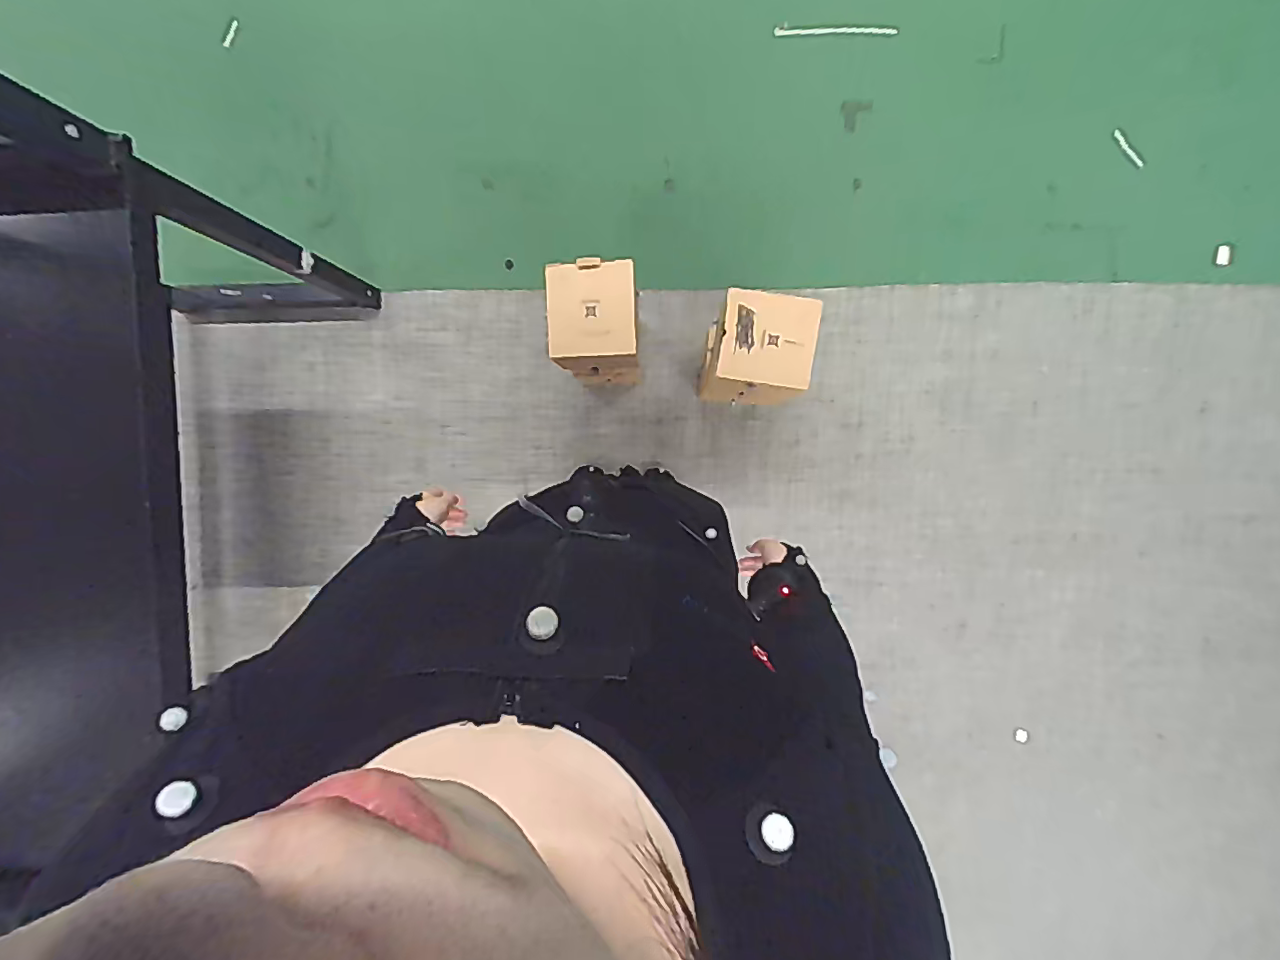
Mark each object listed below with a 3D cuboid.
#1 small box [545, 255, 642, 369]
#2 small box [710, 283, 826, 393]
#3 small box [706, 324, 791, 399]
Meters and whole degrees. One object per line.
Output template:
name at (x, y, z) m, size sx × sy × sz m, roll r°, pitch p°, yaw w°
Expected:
small box at (-0.085, -0.321, 1.062) m, size 0.168 × 0.176 × 0.179 m, roll -3°, pitch 94°, yaw 4°
small box at (0.238, -0.266, 1.050) m, size 0.179 × 0.176 × 0.168 m, roll 9°, pitch 95°, yaw 1°
small box at (0.251, -0.279, 1.213) m, size 0.179 × 0.176 × 0.168 m, roll 11°, pitch 96°, yaw 1°
